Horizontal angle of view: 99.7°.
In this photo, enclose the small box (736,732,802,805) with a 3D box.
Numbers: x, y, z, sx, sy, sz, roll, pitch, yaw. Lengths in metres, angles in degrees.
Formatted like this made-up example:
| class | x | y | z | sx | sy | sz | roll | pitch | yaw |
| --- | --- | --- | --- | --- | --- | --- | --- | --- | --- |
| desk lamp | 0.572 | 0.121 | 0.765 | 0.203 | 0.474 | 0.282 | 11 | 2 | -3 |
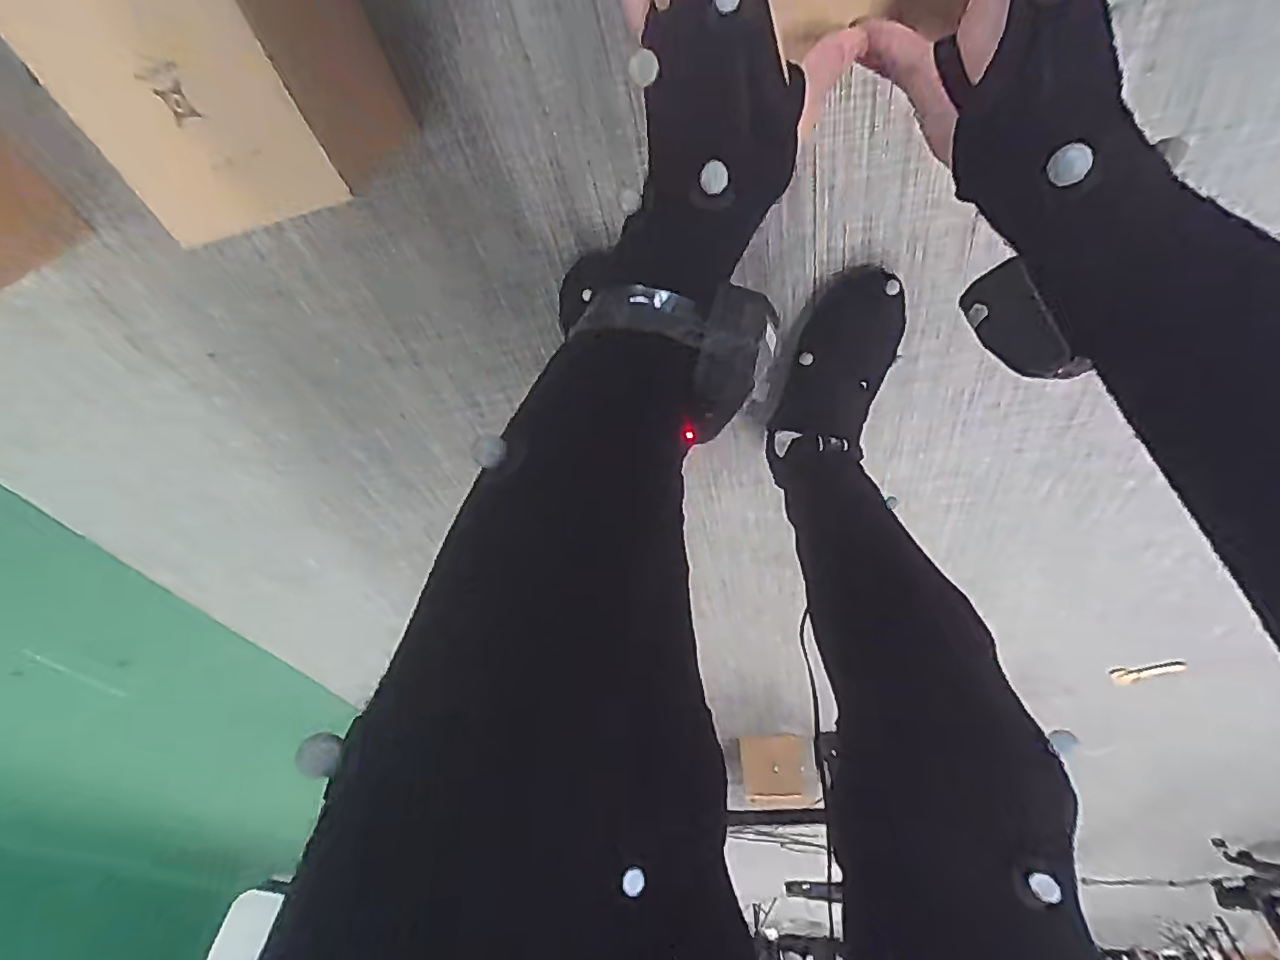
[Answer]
| class | x | y | z | sx | sy | sz | roll | pitch | yaw |
| --- | --- | --- | --- | --- | --- | --- | --- | --- | --- |
| small box | 0.399 | 0.898 | 1.684 | 0.179 | 0.176 | 0.168 | -7 | 136 | 9 |
